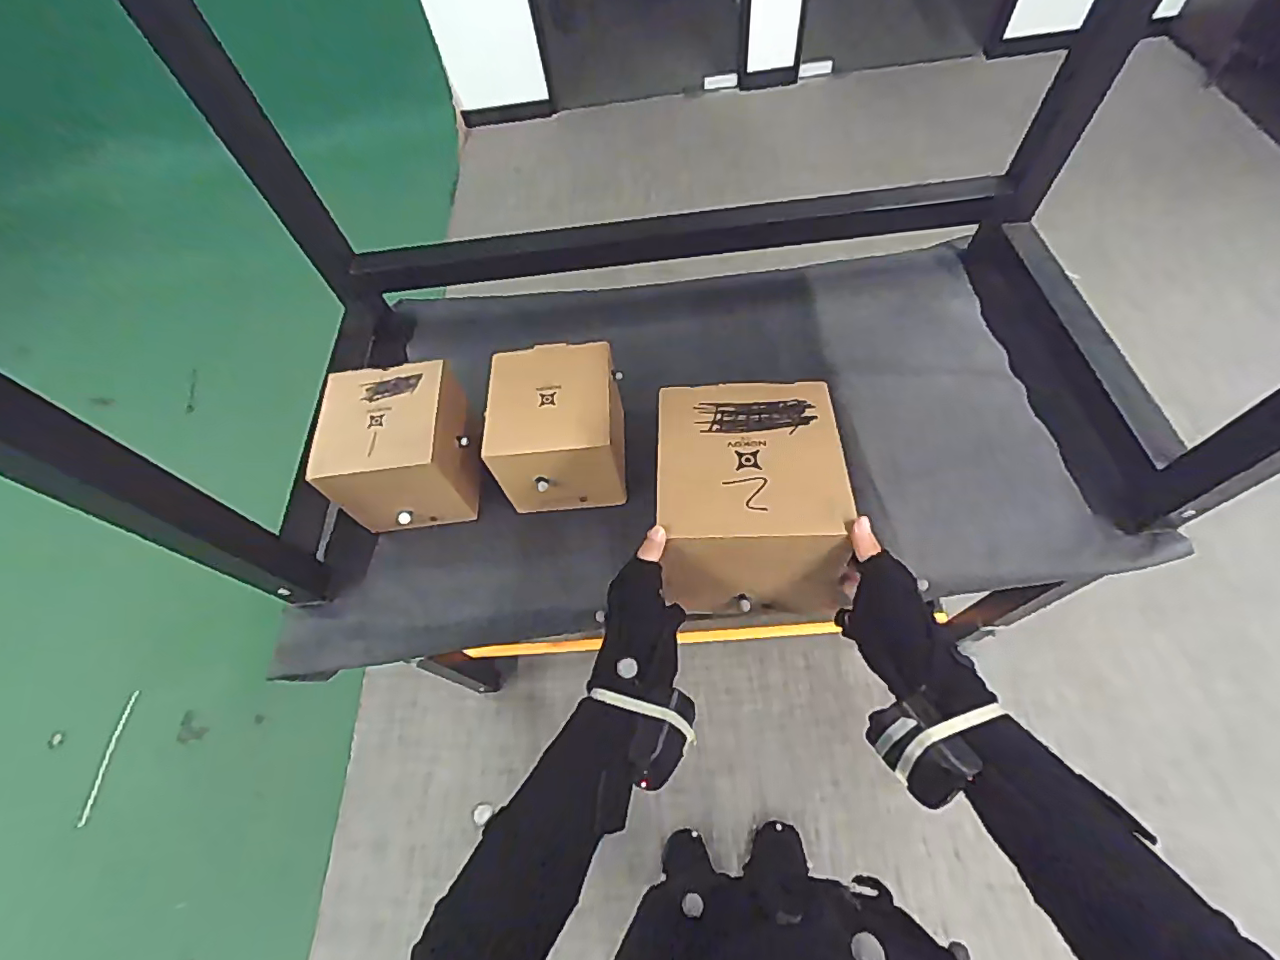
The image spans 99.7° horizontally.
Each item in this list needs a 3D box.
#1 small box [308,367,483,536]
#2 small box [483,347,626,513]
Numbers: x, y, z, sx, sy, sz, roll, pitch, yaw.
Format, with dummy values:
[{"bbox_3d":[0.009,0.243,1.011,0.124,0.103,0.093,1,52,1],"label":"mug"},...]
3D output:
[{"bbox_3d":[-0.337,-0.037,0.789,0.168,0.176,0.179,-7,59,2],"label":"small box"},{"bbox_3d":[-0.112,-0.062,0.780,0.168,0.176,0.179,-5,58,3],"label":"small box"}]
